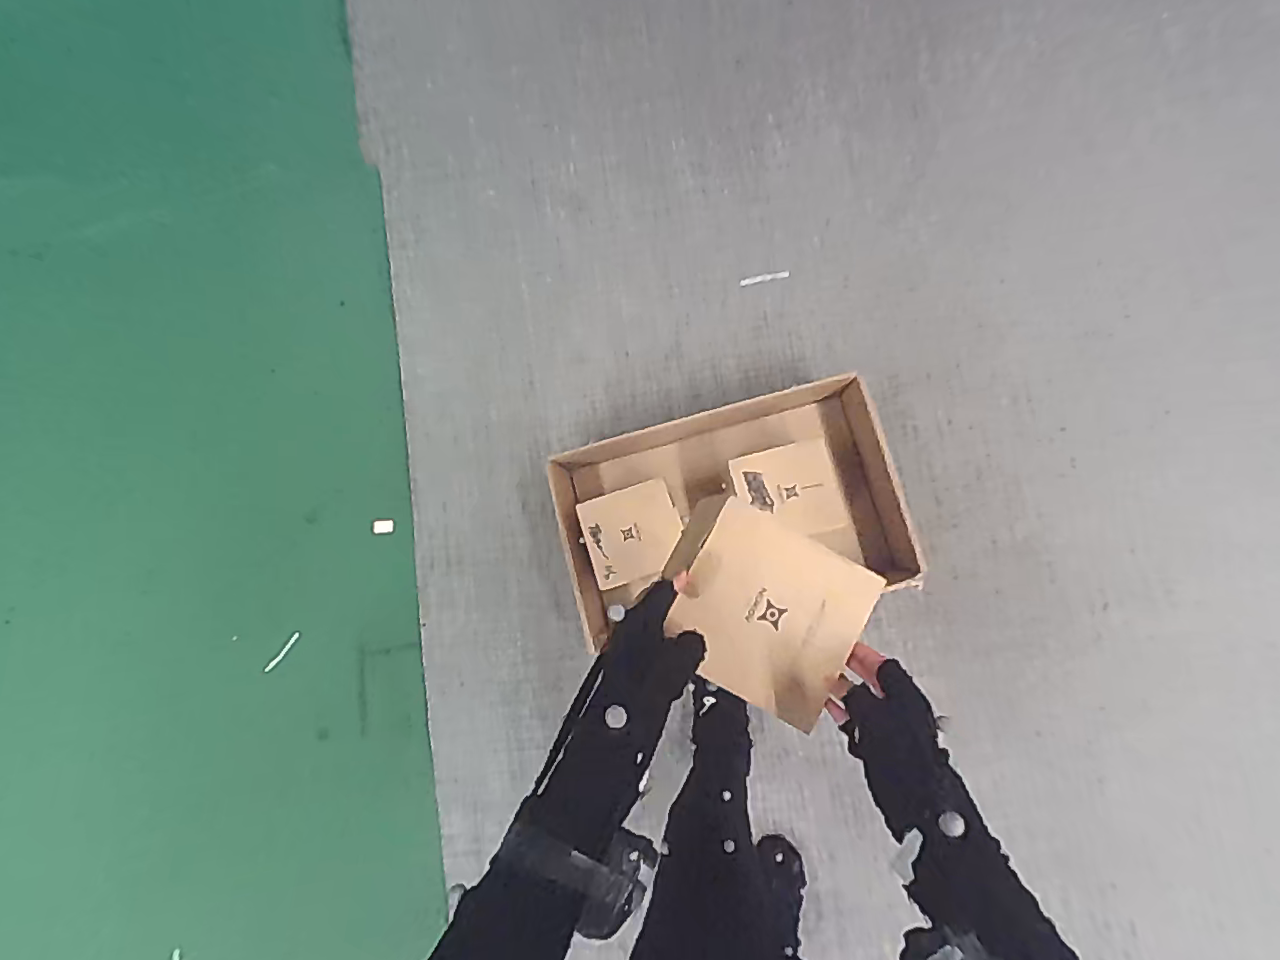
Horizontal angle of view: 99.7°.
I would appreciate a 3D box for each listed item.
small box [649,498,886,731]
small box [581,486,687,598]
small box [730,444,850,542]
[{"bbox_3d":[0.122,0.133,0.597,0.179,0.176,0.168,29,87,-1],"label":"small box"},{"bbox_3d":[0.003,0.119,1.055,0.179,0.176,0.168,-18,81,3],"label":"small box"},{"bbox_3d":[0.273,0.044,1.030,0.179,0.176,0.168,-14,82,5],"label":"small box"}]
